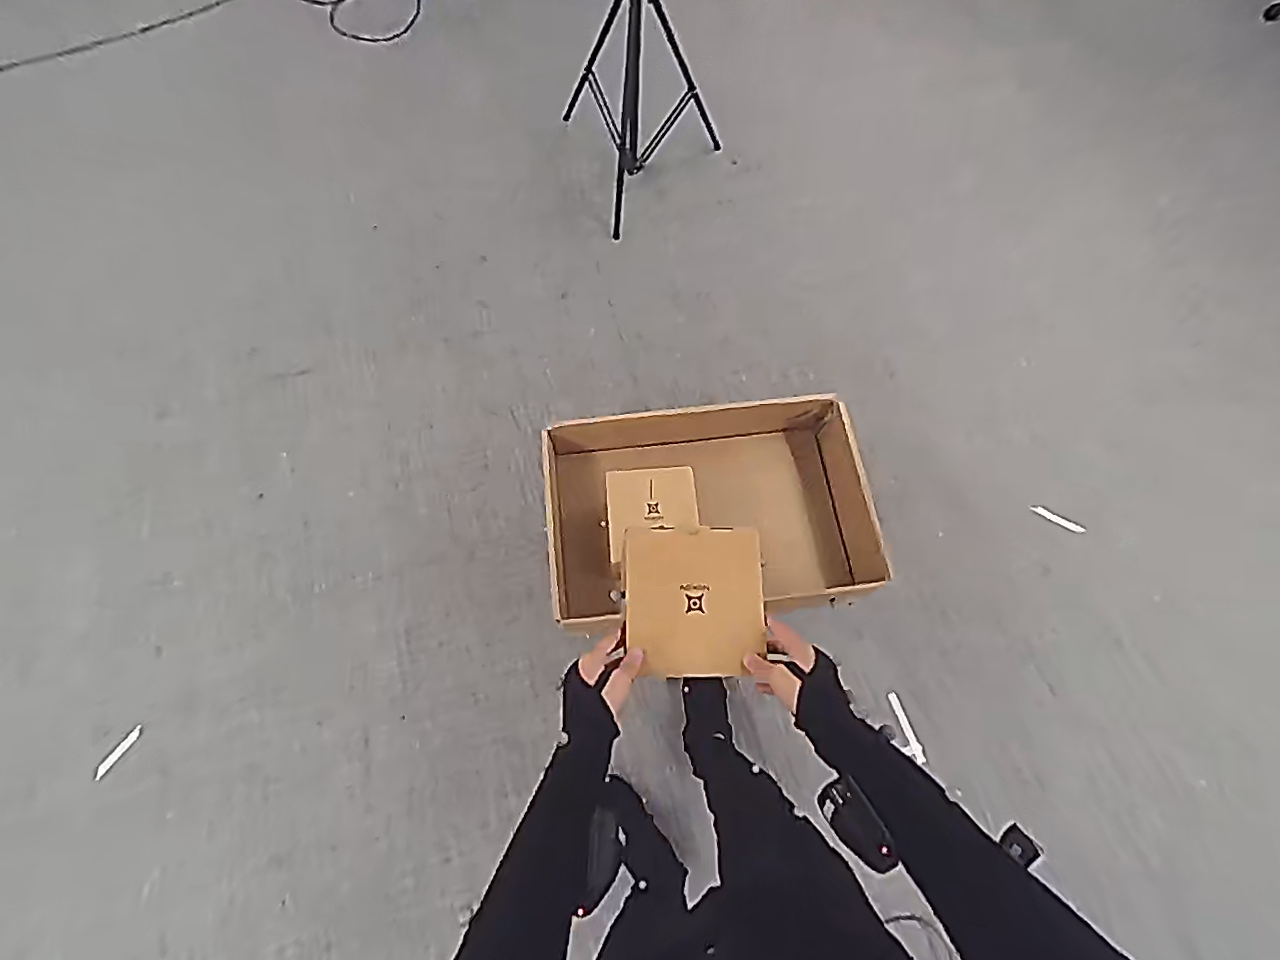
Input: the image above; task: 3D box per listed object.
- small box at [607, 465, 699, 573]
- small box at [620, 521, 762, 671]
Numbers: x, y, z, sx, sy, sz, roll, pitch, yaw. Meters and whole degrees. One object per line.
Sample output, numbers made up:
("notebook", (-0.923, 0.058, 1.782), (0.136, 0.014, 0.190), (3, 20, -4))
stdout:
("small box", (0.024, 0.085, 1.054), (0.168, 0.176, 0.179), (-4, 69, -3))
("small box", (0.058, 0.156, 0.719), (0.168, 0.176, 0.179), (0, 73, -3))
